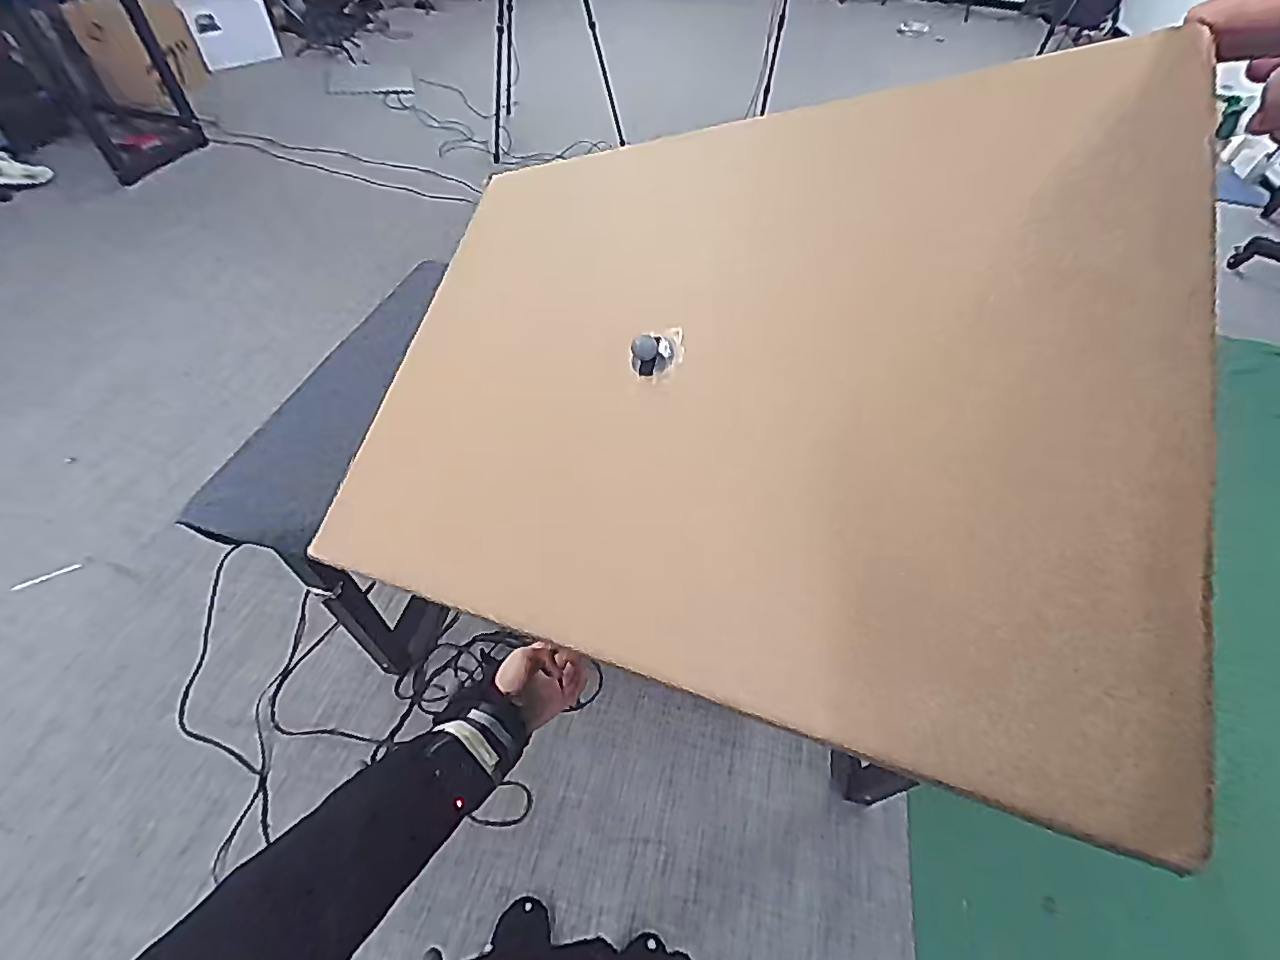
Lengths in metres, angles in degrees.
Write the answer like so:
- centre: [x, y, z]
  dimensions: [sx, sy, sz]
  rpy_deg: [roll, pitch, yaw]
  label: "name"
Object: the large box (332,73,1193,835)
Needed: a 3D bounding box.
- centre: [0.077, -0.003, 0.405]
  dimensions: [0.408, 0.320, 0.320]
  rpy_deg: [7, 70, 29]
  label: "large box"
